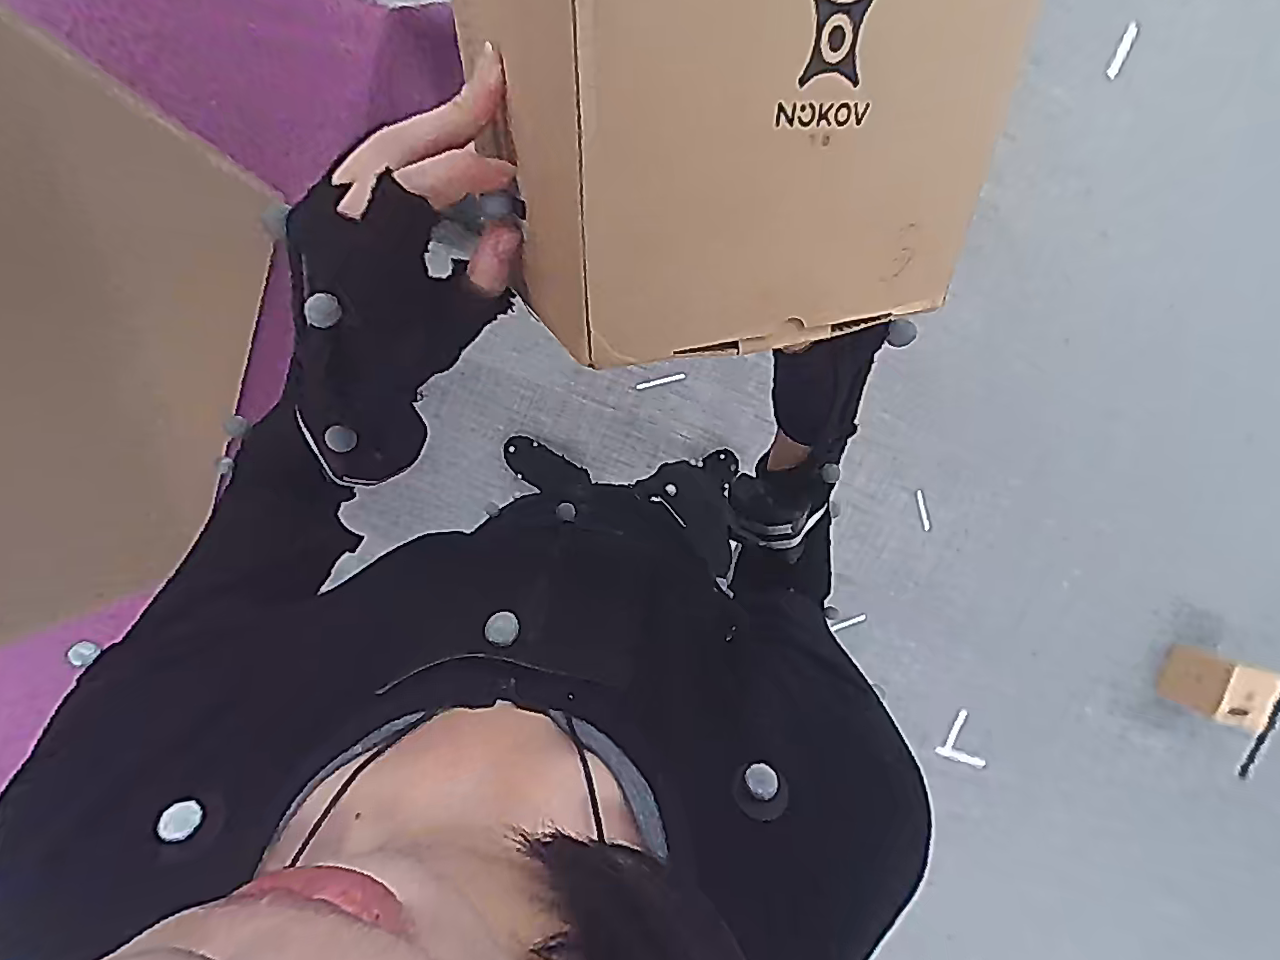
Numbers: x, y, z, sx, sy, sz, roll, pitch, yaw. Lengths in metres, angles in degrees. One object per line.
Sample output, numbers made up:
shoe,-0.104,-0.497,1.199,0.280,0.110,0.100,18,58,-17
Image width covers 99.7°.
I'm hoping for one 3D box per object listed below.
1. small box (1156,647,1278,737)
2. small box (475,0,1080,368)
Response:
small box,1.720,0.630,1.624,0.168,0.176,0.179,15,93,-6
small box,0.034,-0.166,0.219,0.168,0.176,0.179,-14,126,-20
